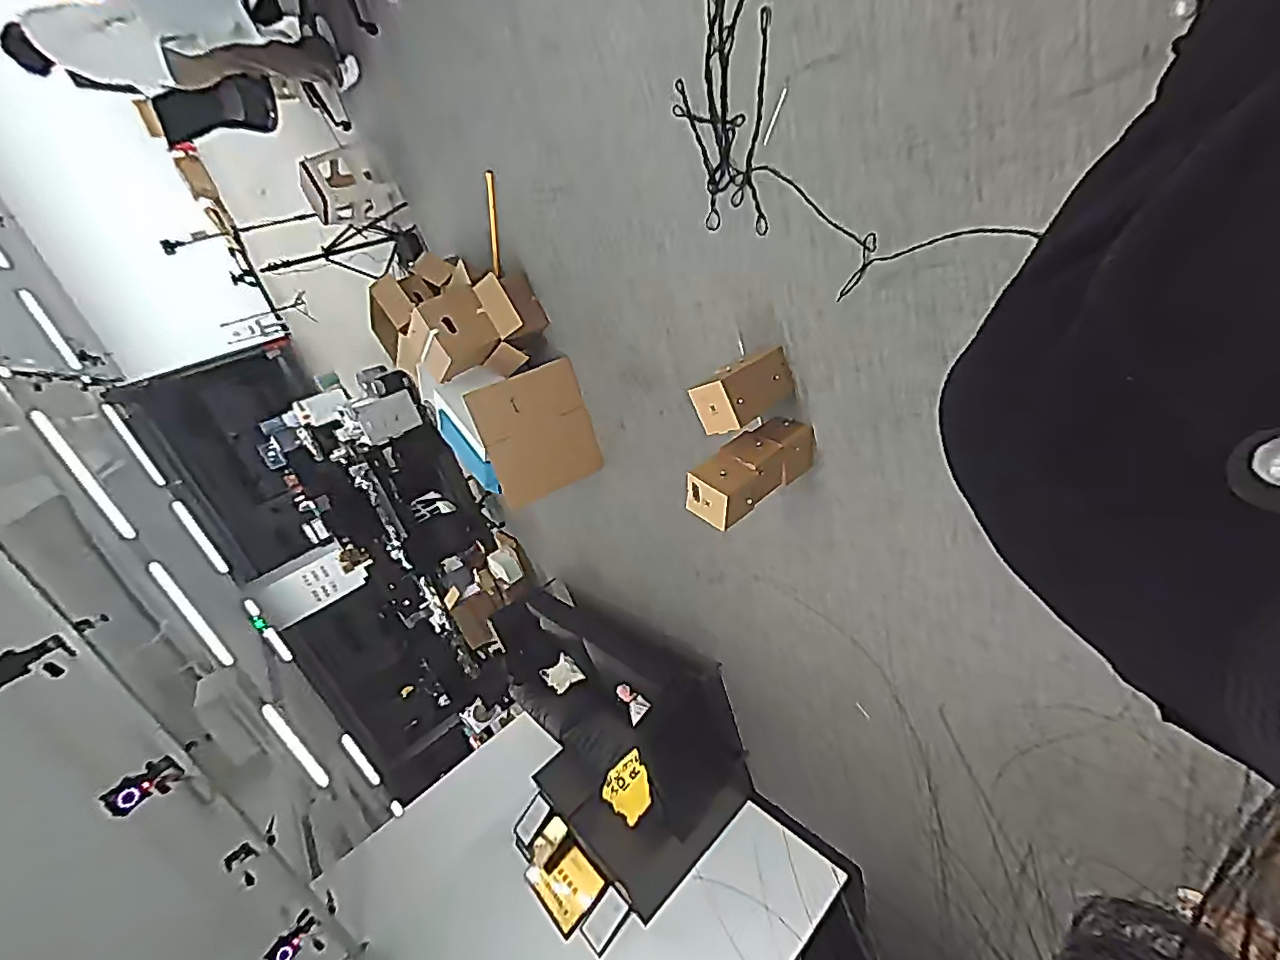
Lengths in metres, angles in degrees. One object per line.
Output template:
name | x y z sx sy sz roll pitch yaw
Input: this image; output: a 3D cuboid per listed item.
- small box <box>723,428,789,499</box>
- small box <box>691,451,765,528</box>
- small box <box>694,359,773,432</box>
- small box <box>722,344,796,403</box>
small box | 0.411 -0.055 1.915 0.168 0.176 0.179 30 140 39
small box | 0.295 0.025 1.828 0.179 0.176 0.168 33 142 35
small box | 0.319 -0.284 1.825 0.168 0.176 0.179 -5 114 56
small box | 0.428 -0.369 1.913 0.179 0.176 0.168 3 120 56
